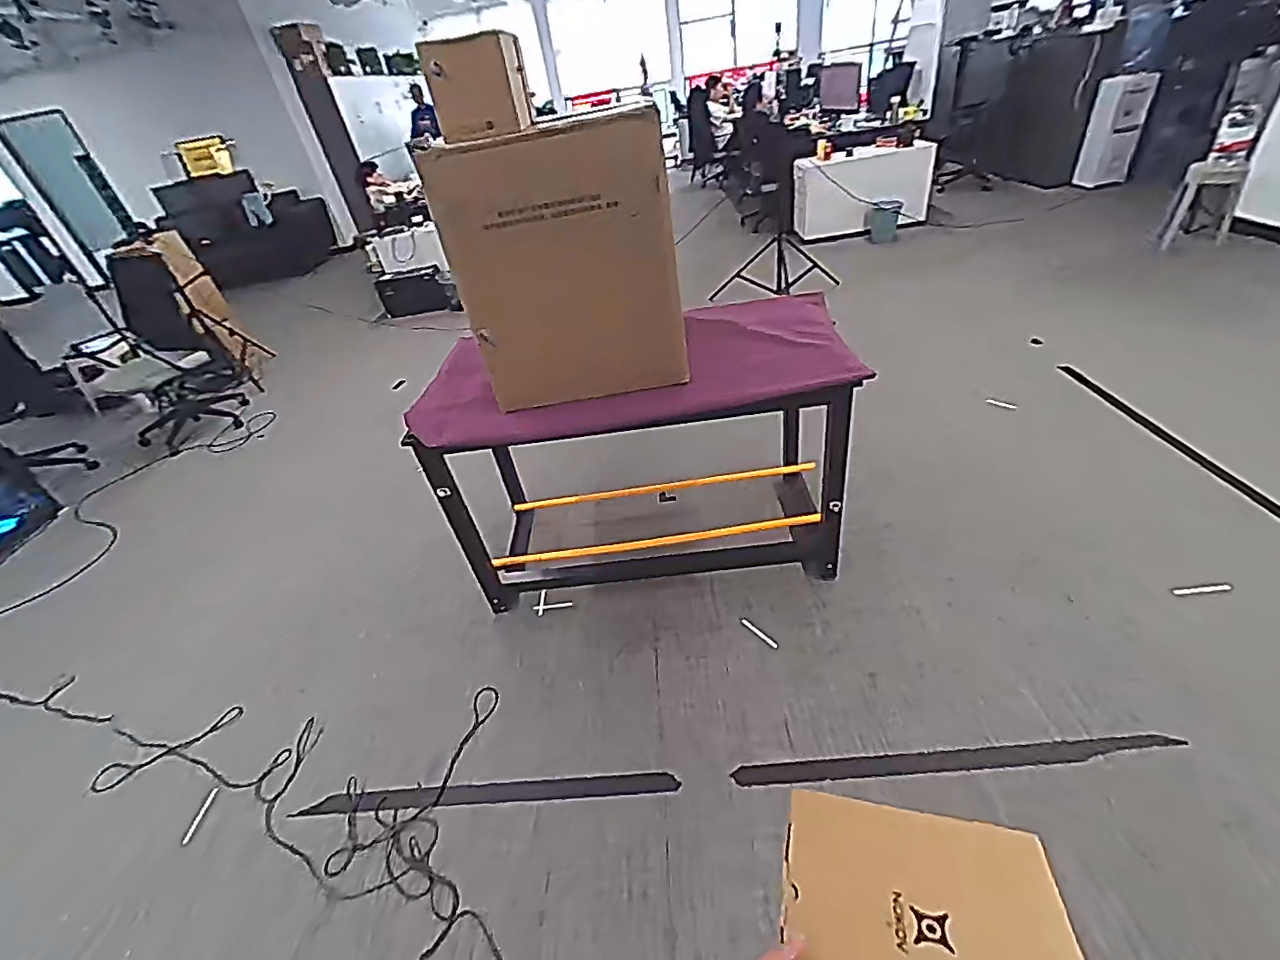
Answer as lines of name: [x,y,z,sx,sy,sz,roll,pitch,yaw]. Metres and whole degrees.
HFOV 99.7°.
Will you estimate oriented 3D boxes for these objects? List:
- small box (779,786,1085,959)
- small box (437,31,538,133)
small box: [0.187,0.356,0.371,0.179,0.176,0.168,1,22,18]
small box: [-0.351,-0.932,1.276,0.179,0.176,0.168,-9,37,0]
